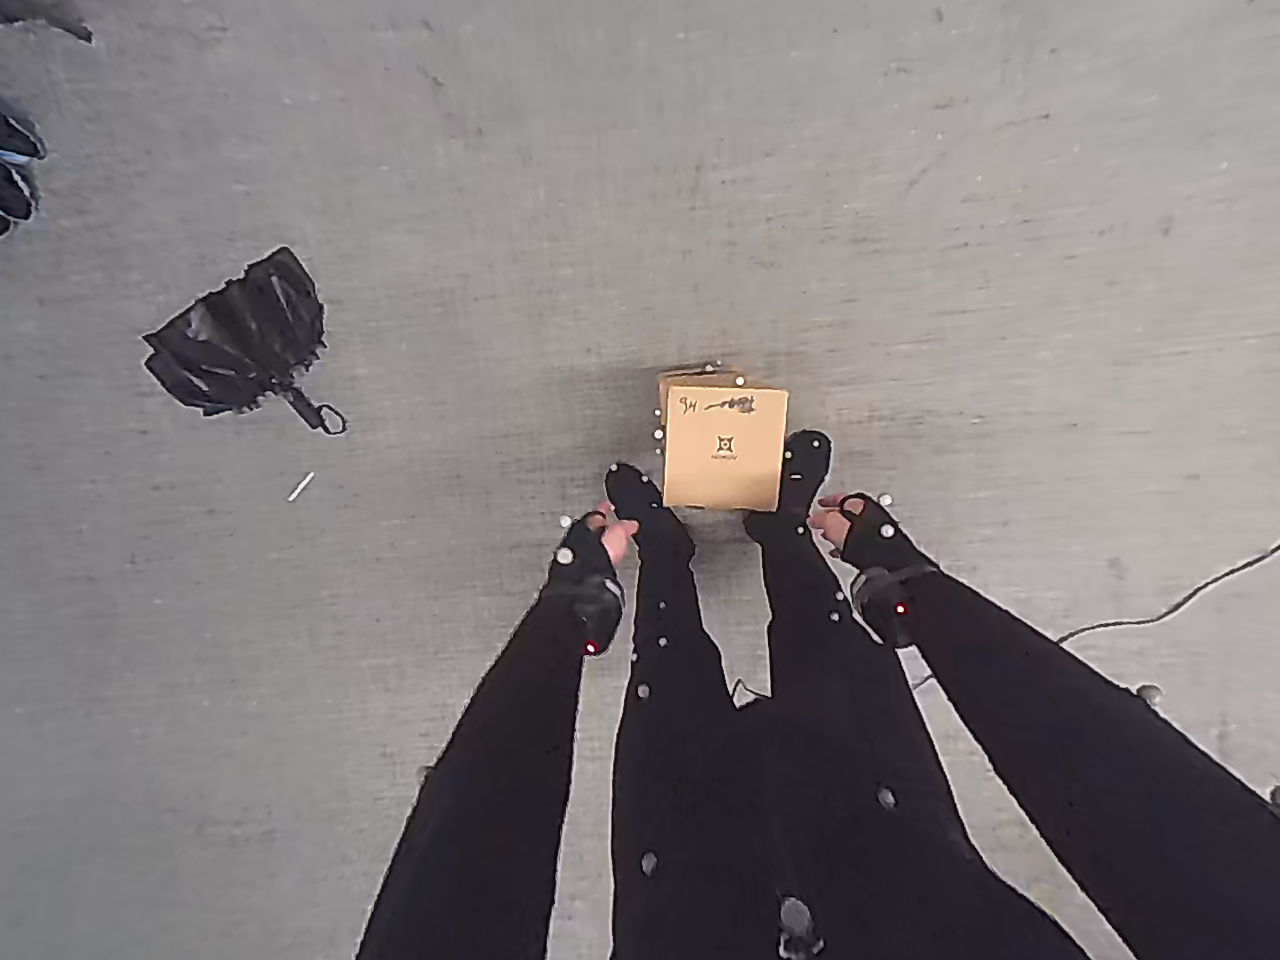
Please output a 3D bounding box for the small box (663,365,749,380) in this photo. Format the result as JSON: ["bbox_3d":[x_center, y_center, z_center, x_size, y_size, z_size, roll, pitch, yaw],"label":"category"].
[{"bbox_3d":[0.135,-0.142,1.119,0.168,0.176,0.179,-5,105,5],"label":"small box"}]

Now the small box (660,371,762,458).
[{"bbox_3d":[0.125,-0.096,0.965,0.168,0.176,0.179,-4,103,3],"label":"small box"}]

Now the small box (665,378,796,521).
[{"bbox_3d":[0.124,-0.052,0.807,0.168,0.176,0.179,2,106,2],"label":"small box"}]
